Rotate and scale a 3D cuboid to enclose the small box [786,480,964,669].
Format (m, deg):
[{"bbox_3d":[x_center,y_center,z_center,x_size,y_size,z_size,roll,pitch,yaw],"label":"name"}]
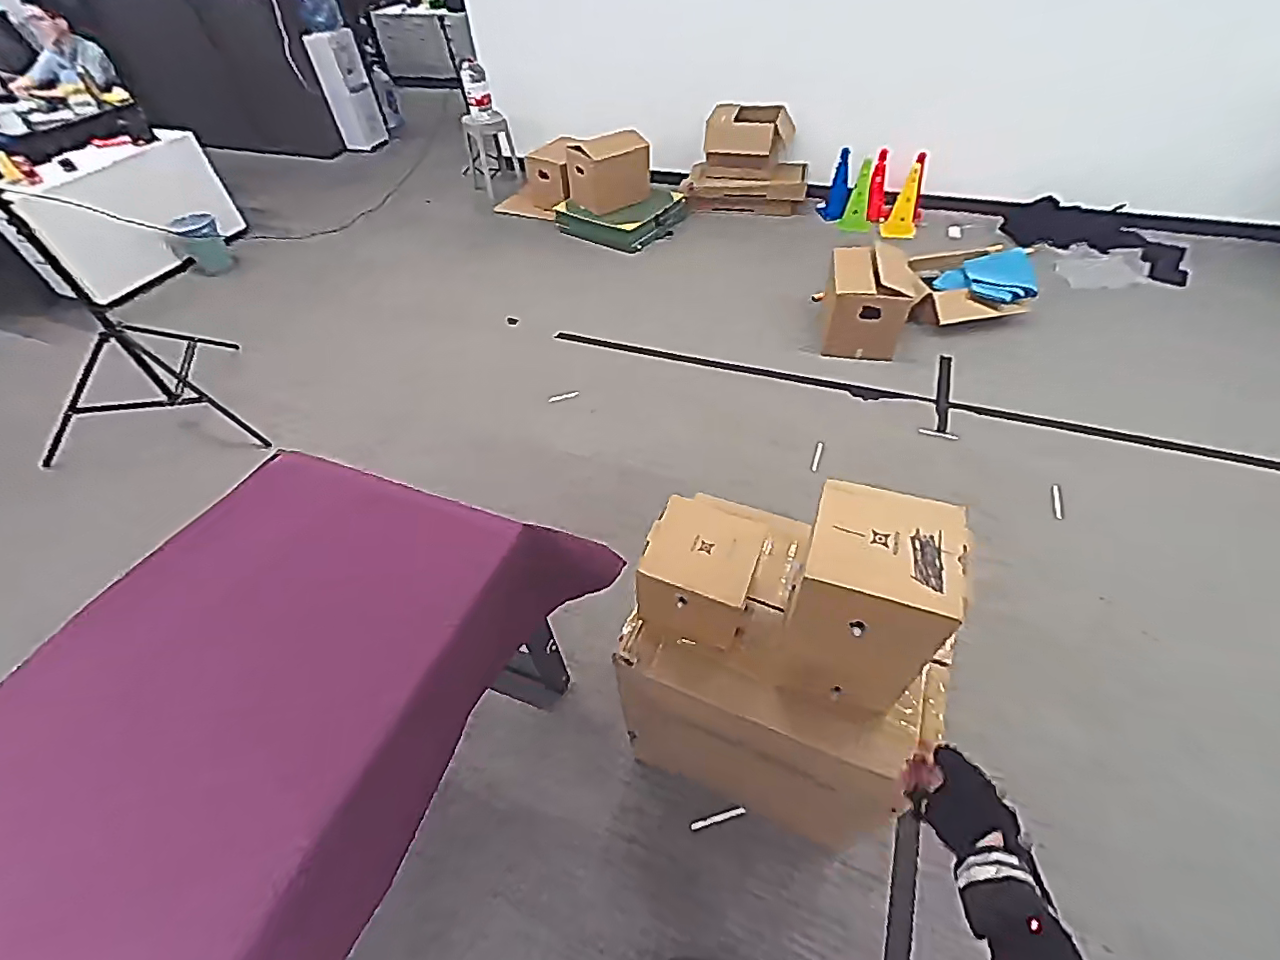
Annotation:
[{"bbox_3d":[0.307,0.130,0.725,0.179,0.176,0.168,14,51,18],"label":"small box"}]

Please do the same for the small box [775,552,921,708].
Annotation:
[{"bbox_3d":[0.320,0.238,0.850,0.179,0.176,0.168,10,50,13],"label":"small box"}]
